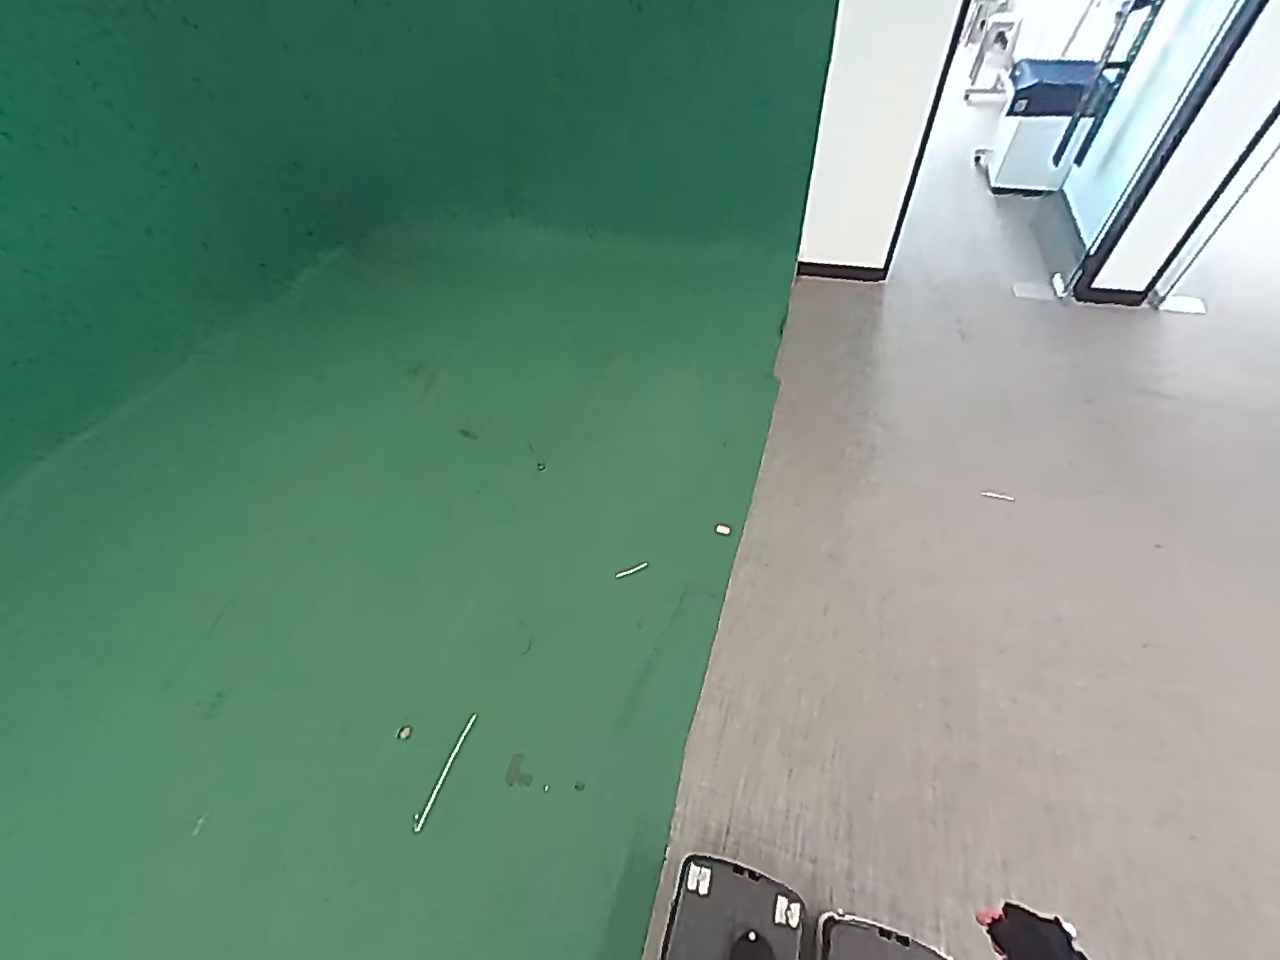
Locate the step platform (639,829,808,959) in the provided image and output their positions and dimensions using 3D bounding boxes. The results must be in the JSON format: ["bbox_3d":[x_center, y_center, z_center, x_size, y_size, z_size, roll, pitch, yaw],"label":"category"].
[{"bbox_3d":[0.096,1.024,0.934,0.286,0.204,0.684,12,54,13],"label":"step platform"}]
